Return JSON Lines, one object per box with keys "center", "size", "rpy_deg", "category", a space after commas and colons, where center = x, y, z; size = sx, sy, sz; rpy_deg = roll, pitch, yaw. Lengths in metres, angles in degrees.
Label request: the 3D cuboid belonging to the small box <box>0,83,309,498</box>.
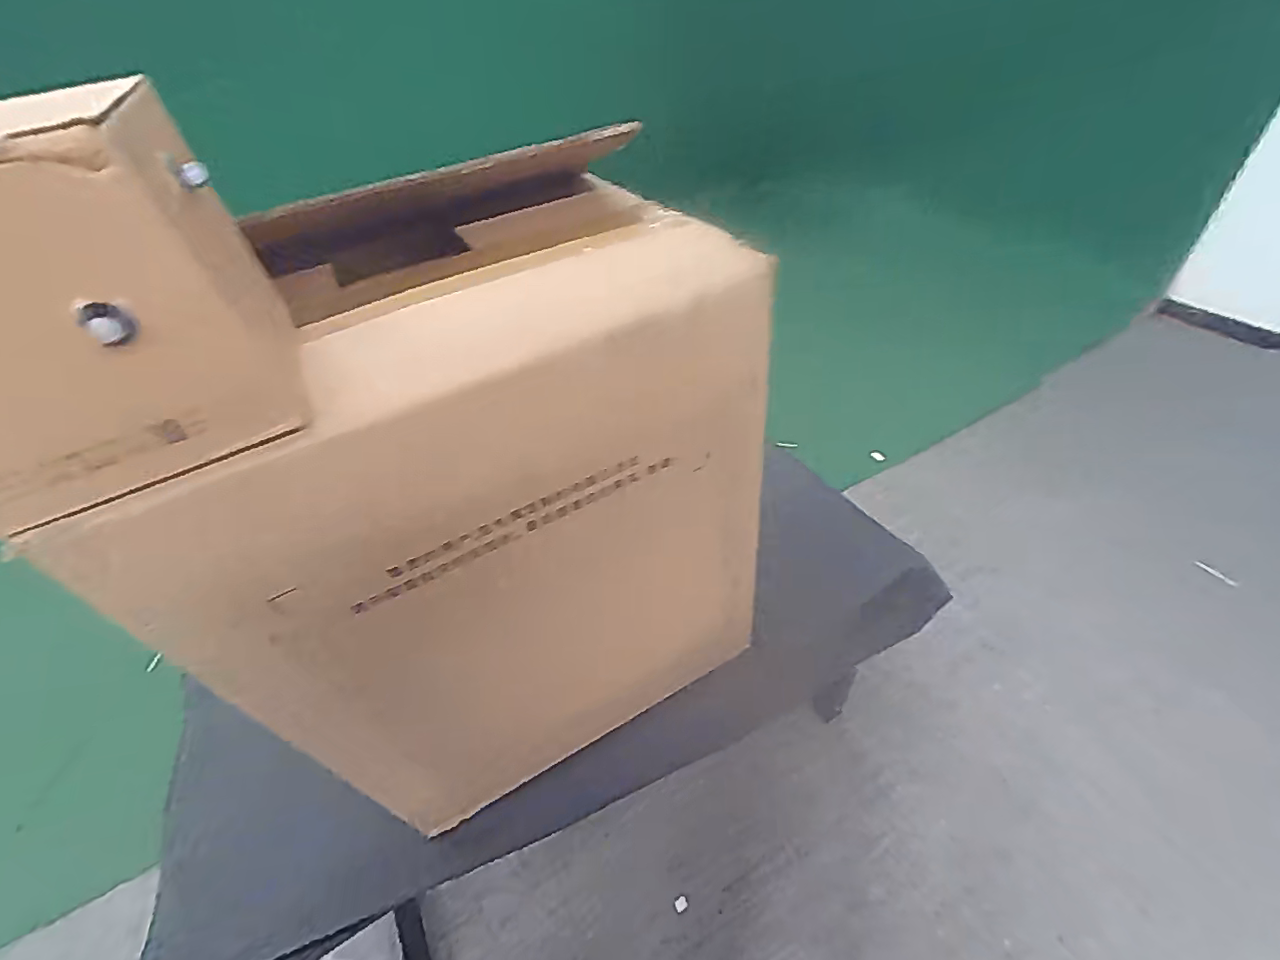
{"center": [-0.325, -0.111, 0.323], "size": [0.168, 0.176, 0.179], "rpy_deg": [-25, 46, -16], "category": "small box"}
